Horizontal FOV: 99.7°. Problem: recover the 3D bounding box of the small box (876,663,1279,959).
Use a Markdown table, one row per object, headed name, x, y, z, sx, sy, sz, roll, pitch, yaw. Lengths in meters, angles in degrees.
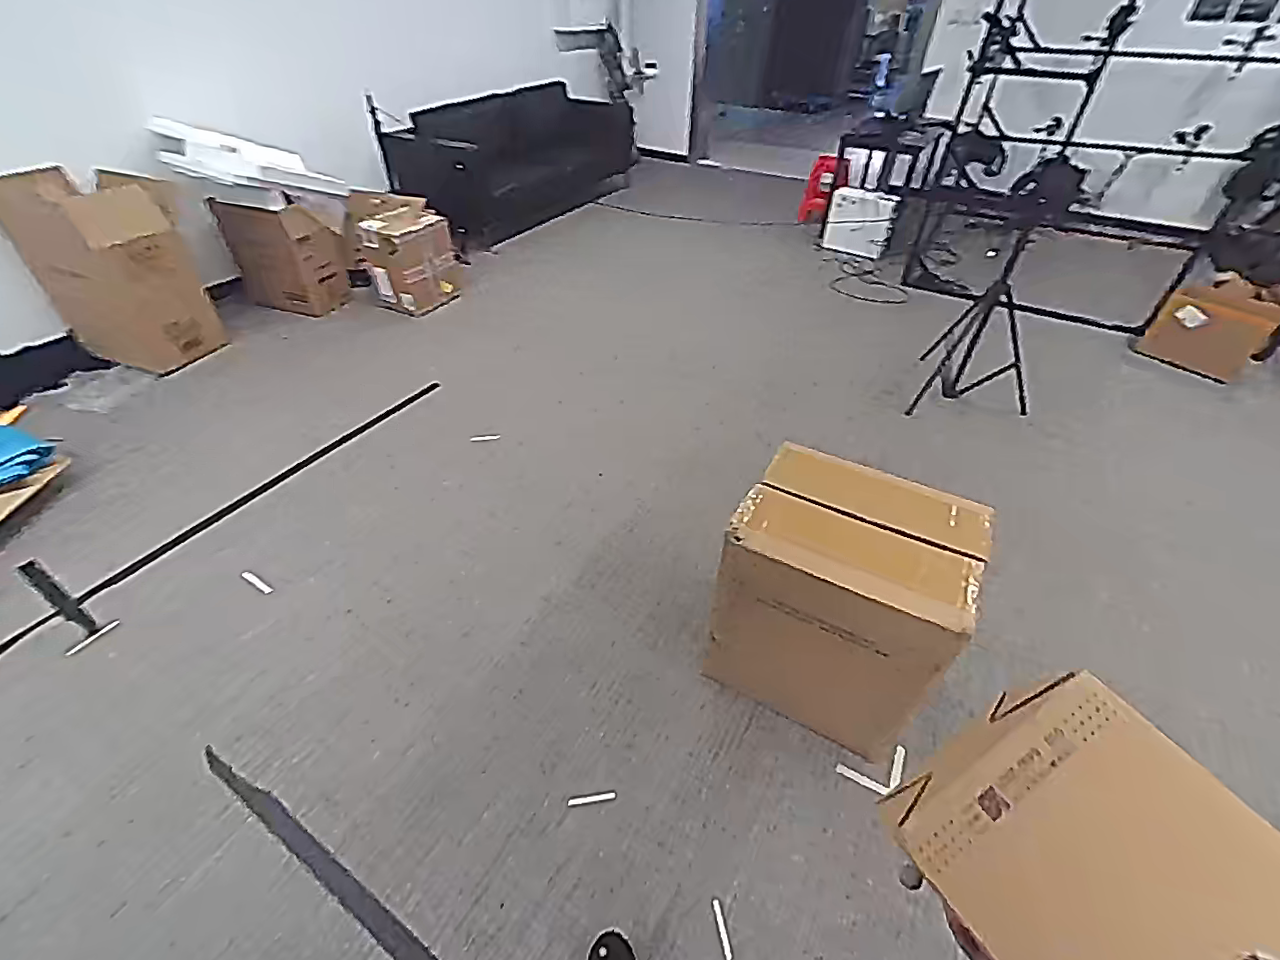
| name | x | y | z | sx | sy | sz | roll | pitch | yaw |
| --- | --- | --- | --- | --- | --- | --- | --- | --- | --- |
| small box | 0.291 | 0.251 | 0.378 | 0.168 | 0.179 | 0.176 | -40 | 59 | -2 |
